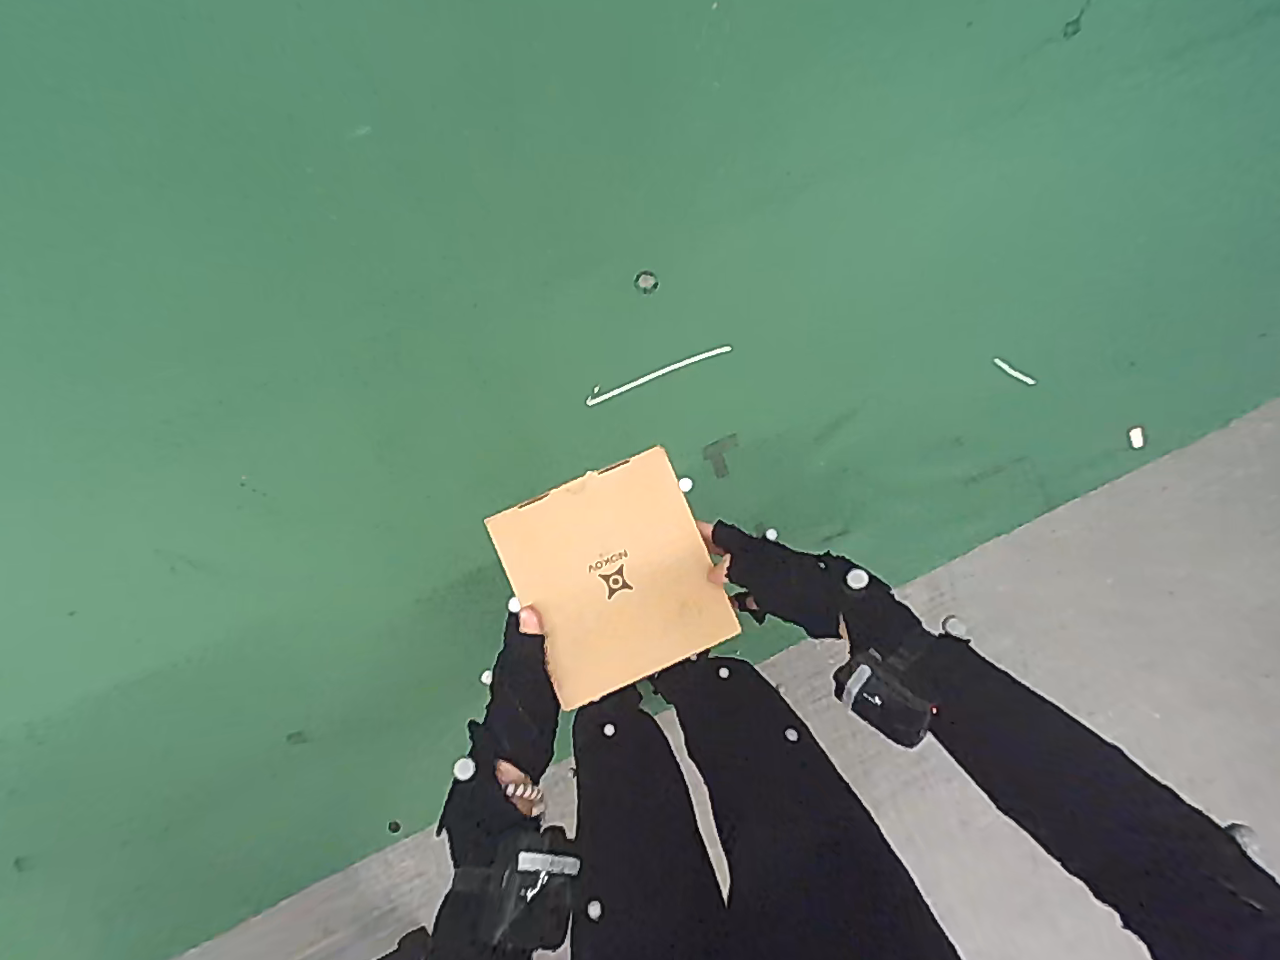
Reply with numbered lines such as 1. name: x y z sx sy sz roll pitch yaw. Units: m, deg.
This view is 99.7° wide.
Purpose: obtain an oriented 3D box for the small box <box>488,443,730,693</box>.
1. small box: -0.027 0.079 0.551 0.168 0.176 0.179 -23 87 -3
